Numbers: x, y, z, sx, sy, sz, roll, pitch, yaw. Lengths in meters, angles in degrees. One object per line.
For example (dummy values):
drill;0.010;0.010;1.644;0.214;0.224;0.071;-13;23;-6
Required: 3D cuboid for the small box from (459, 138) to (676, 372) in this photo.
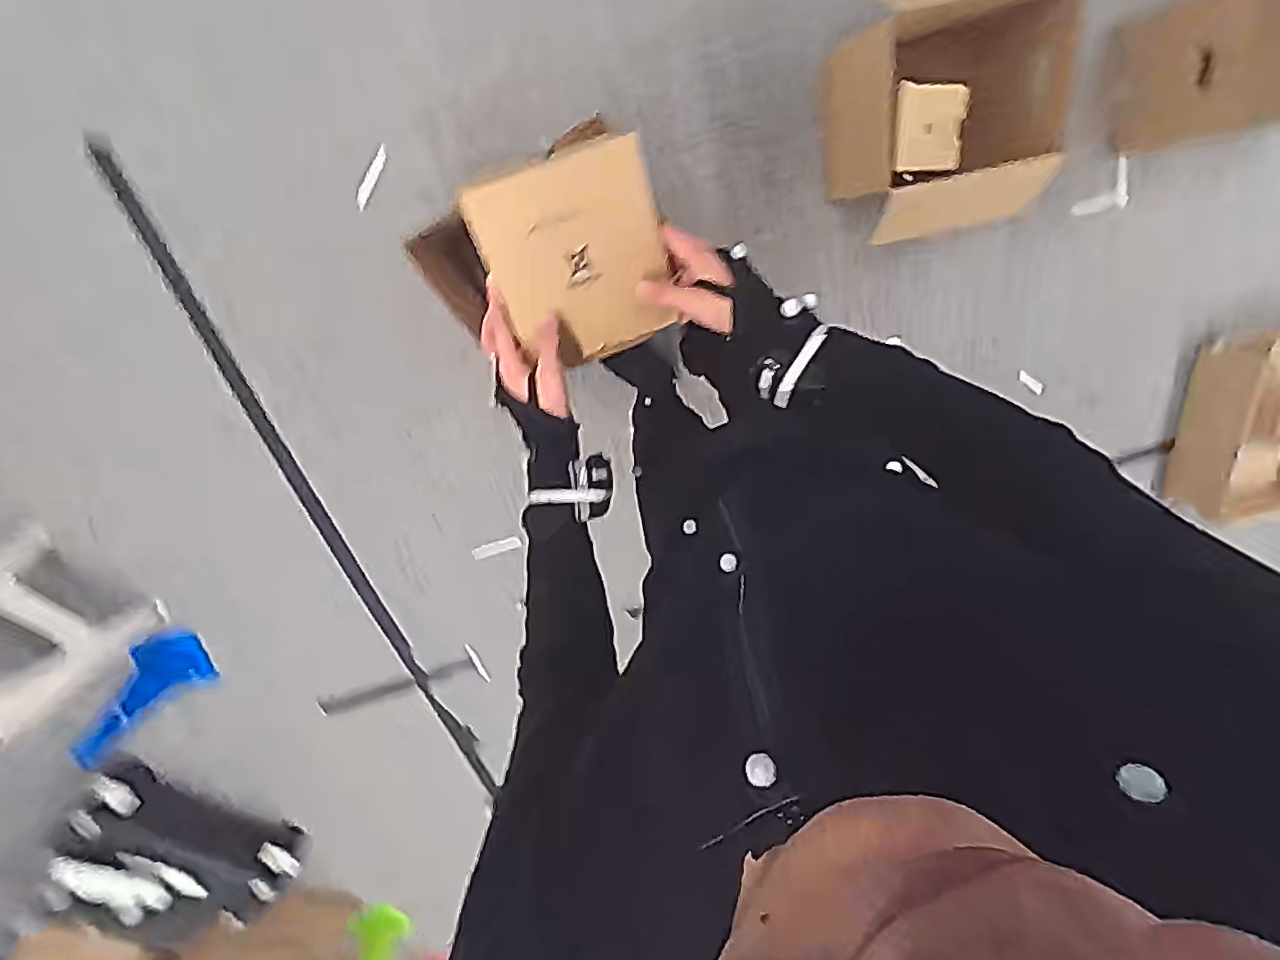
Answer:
small box;-0.077;-0.245;0.577;0.168;0.176;0.179;-21;124;-4
